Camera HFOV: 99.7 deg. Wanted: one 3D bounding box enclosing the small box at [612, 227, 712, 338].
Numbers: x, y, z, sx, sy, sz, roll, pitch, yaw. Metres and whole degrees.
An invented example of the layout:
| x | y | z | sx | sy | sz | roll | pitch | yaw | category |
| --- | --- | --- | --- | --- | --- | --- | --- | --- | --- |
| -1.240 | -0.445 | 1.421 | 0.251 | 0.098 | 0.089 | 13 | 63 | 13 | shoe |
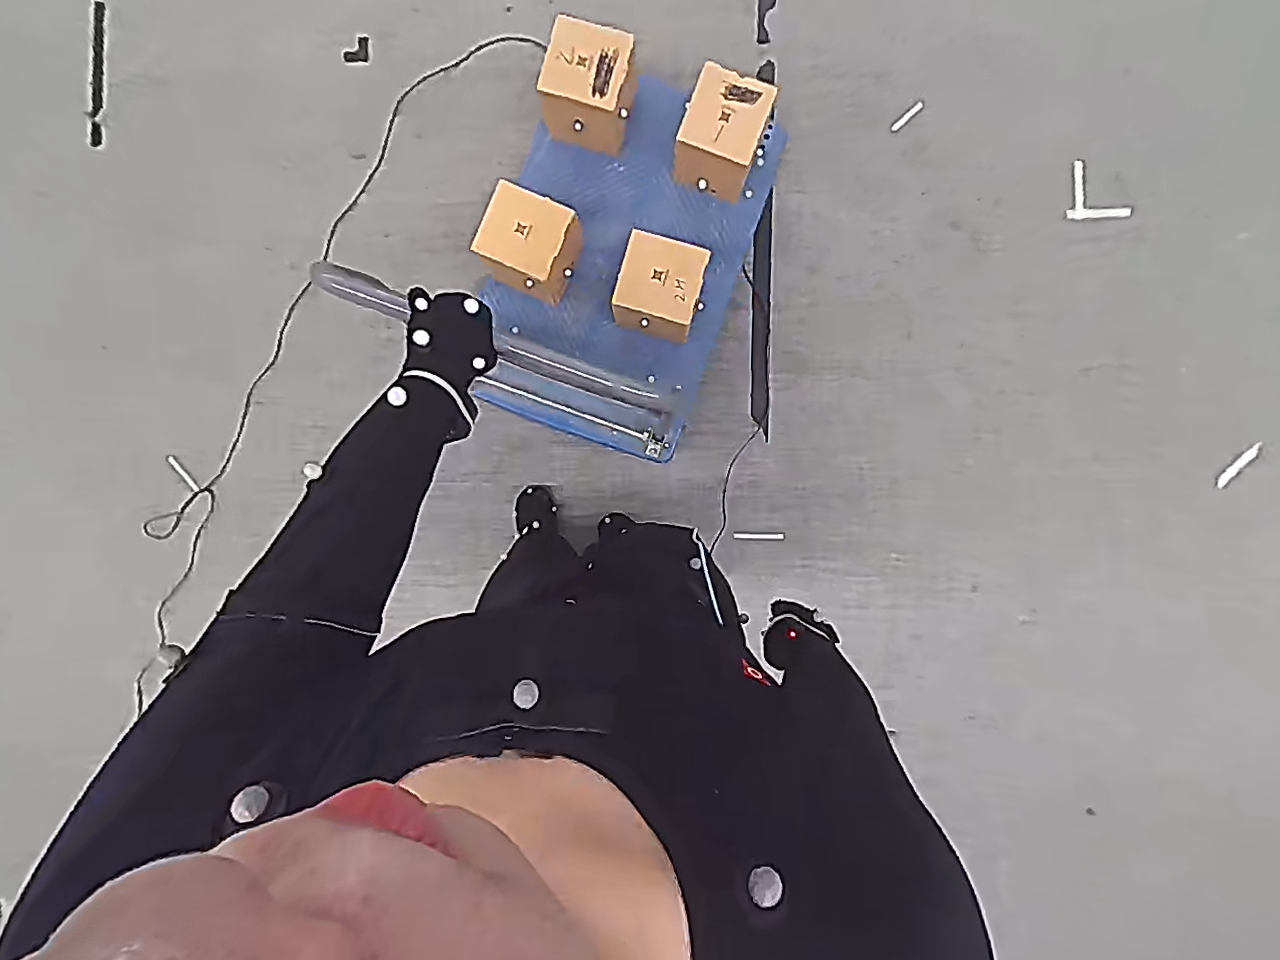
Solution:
| x | y | z | sx | sy | sz | roll | pitch | yaw | category |
| --- | --- | --- | --- | --- | --- | --- | --- | --- | --- |
| 0.048 | -0.435 | 1.218 | 0.179 | 0.176 | 0.168 | 17 | 92 | 1 | small box |

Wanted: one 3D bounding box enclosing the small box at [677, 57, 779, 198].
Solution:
| x | y | z | sx | sy | sz | roll | pitch | yaw | category |
| --- | --- | --- | --- | --- | --- | --- | --- | --- | --- |
| 0.186 | -0.775 | 1.208 | 0.168 | 0.176 | 0.179 | 21 | 93 | 1 | small box |

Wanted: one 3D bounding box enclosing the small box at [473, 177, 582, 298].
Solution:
| x | y | z | sx | sy | sz | roll | pitch | yaw | category |
| --- | --- | --- | --- | --- | --- | --- | --- | --- | --- |
| -0.245 | -0.535 | 1.221 | 0.179 | 0.176 | 0.168 | 23 | 91 | -1 | small box |
